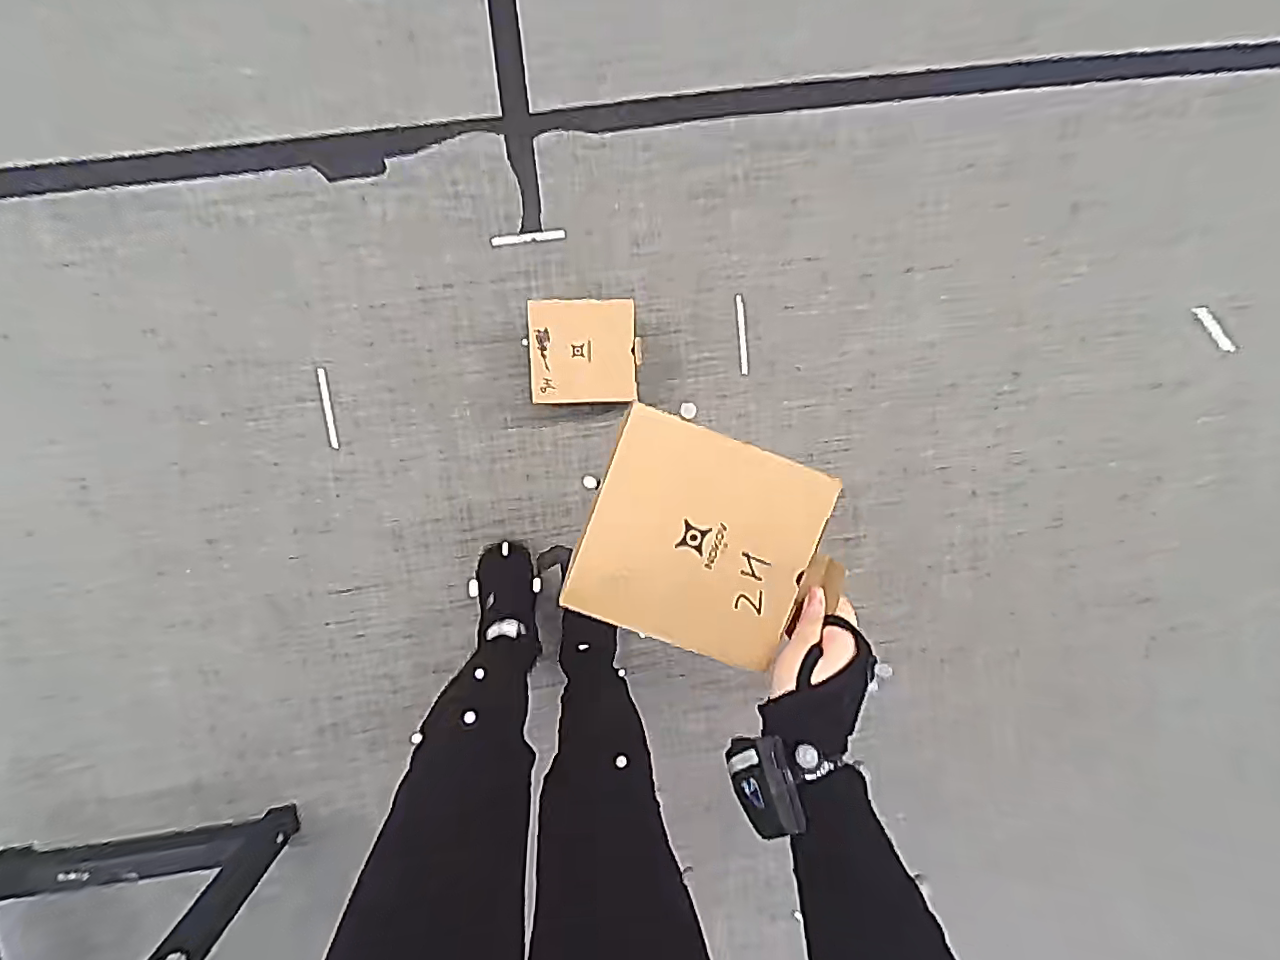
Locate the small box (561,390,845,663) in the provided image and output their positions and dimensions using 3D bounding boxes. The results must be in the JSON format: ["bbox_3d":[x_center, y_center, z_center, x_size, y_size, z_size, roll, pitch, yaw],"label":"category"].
[{"bbox_3d":[0.044,0.033,0.490,0.179,0.176,0.168,21,93,-5],"label":"small box"}]

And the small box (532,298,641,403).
[{"bbox_3d":[-0.094,-0.220,0.951,0.179,0.176,0.168,-1,98,-5],"label":"small box"}]
